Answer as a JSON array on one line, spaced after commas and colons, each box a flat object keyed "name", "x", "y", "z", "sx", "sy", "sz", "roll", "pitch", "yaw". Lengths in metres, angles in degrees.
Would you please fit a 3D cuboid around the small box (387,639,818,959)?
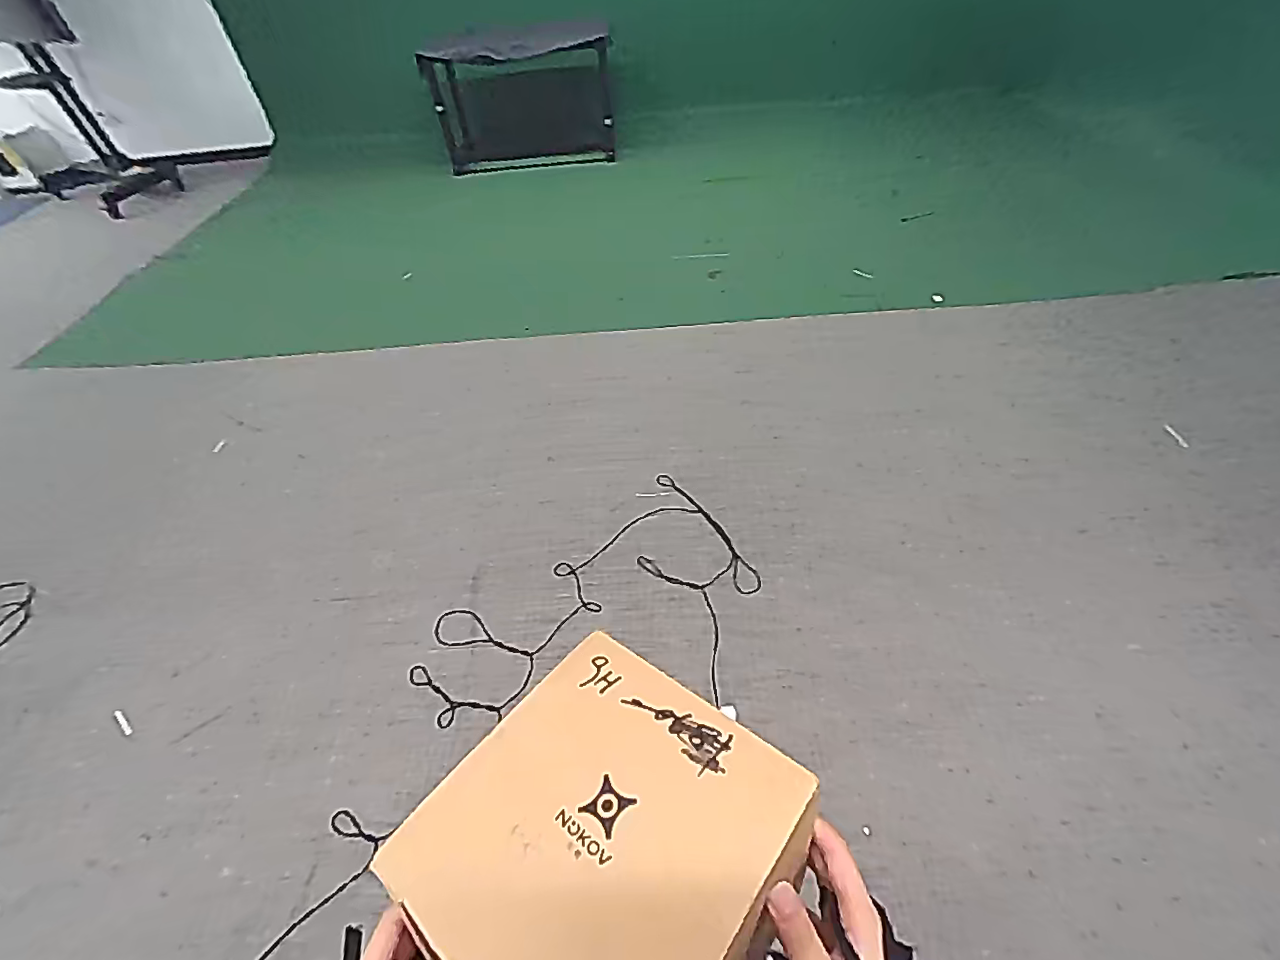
[{"name": "small box", "x": -0.009, "y": 0.245, "z": 0.333, "sx": 0.168, "sy": 0.176, "sz": 0.179, "roll": 24, "pitch": 49, "yaw": 35}]
